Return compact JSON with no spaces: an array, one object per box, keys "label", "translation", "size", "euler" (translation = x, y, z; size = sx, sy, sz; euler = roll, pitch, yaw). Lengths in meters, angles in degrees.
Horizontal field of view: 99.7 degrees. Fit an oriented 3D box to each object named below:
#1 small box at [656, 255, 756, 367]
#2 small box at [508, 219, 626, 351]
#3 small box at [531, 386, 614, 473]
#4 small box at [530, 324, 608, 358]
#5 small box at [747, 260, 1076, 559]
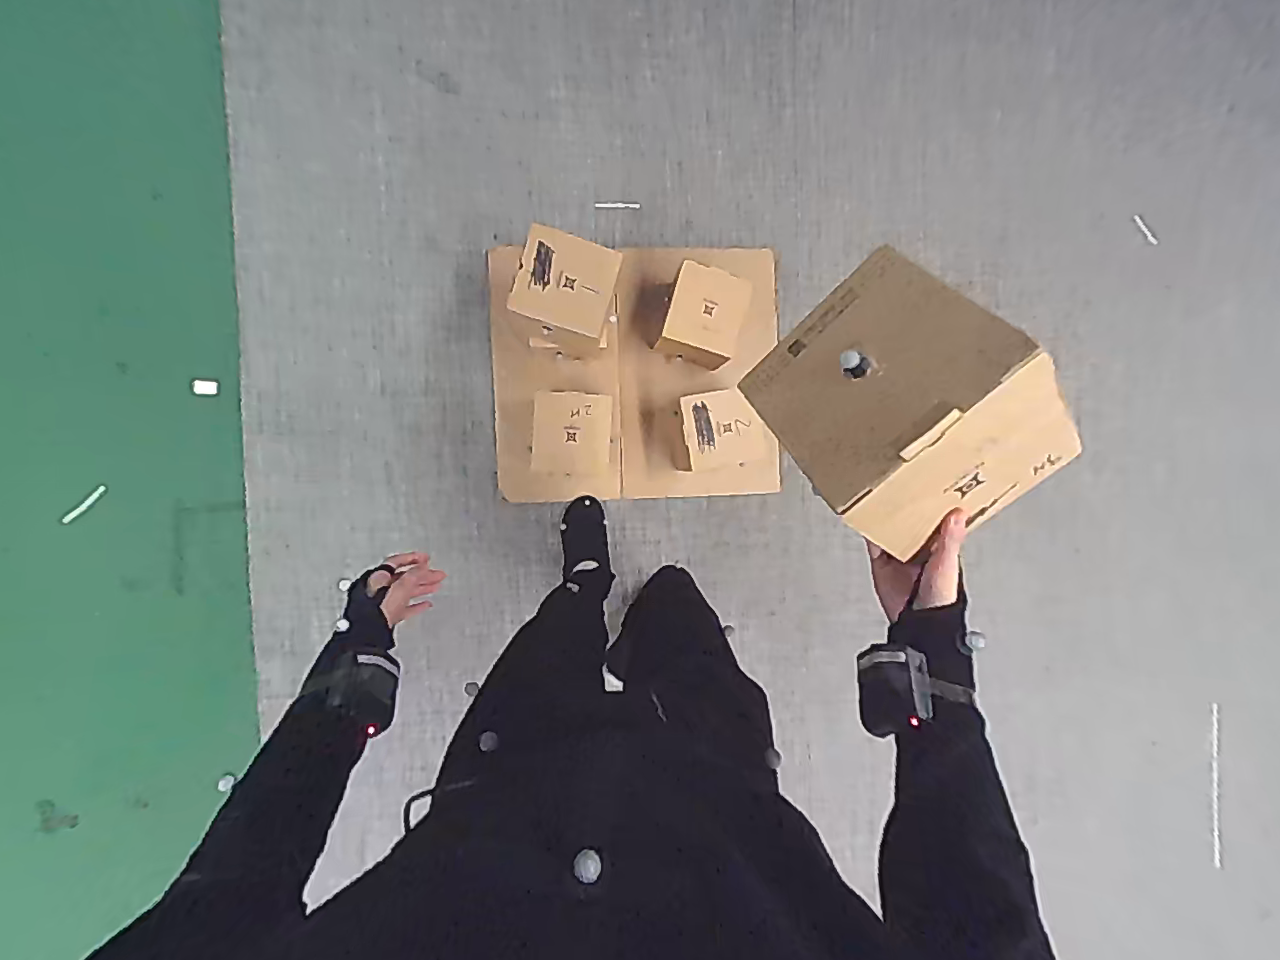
[{"label":"small box","translation":[0.142,-0.377,1.241],"size":[0.168,0.176,0.179],"euler":[17,90,-6]},{"label":"small box","translation":[-0.139,-0.366,1.051],"size":[0.179,0.176,0.168],"euler":[17,90,-7]},{"label":"small box","translation":[-0.149,-0.109,1.222],"size":[0.168,0.176,0.179],"euler":[4,91,-7]},{"label":"small box","translation":[-0.155,-0.374,1.215],"size":[0.168,0.176,0.179],"euler":[0,91,-6]},{"label":"small box","translation":[0.225,-0.064,0.475],"size":[0.168,0.176,0.179],"euler":[-44,133,19]}]
